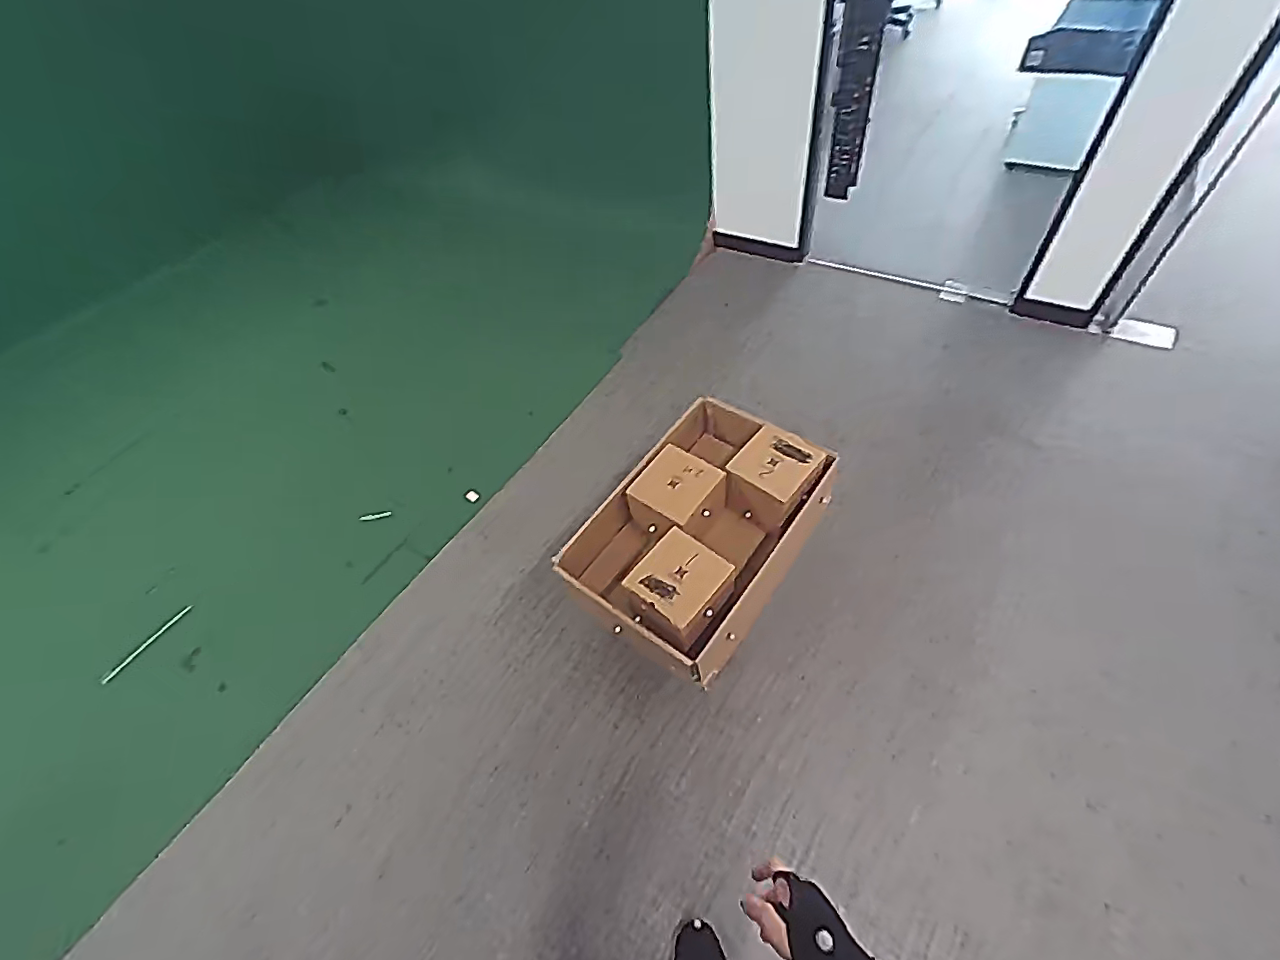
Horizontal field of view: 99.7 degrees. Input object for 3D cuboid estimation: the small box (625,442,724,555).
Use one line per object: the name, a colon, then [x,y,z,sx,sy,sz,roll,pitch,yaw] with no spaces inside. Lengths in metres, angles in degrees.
small box: [0.090,0.049,1.304,0.168,0.176,0.179,31,65,25]
